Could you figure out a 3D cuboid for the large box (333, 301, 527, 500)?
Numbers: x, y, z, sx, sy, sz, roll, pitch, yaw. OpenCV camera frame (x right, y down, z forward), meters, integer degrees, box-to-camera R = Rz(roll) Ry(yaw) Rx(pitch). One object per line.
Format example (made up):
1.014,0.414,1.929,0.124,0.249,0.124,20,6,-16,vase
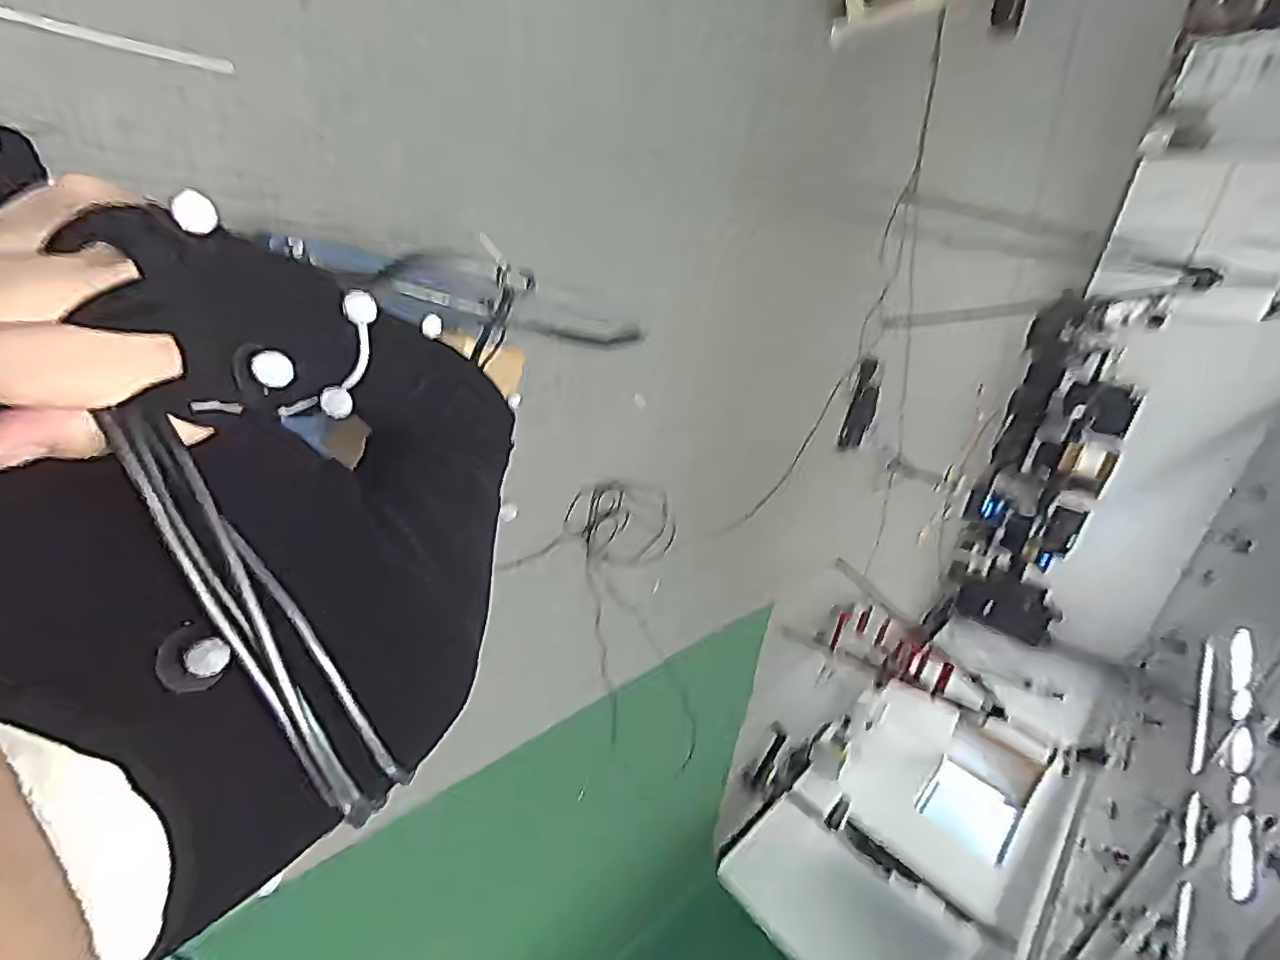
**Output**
-0.531,-0.193,1.352,0.320,0.320,0.408,2,110,-47,large box
